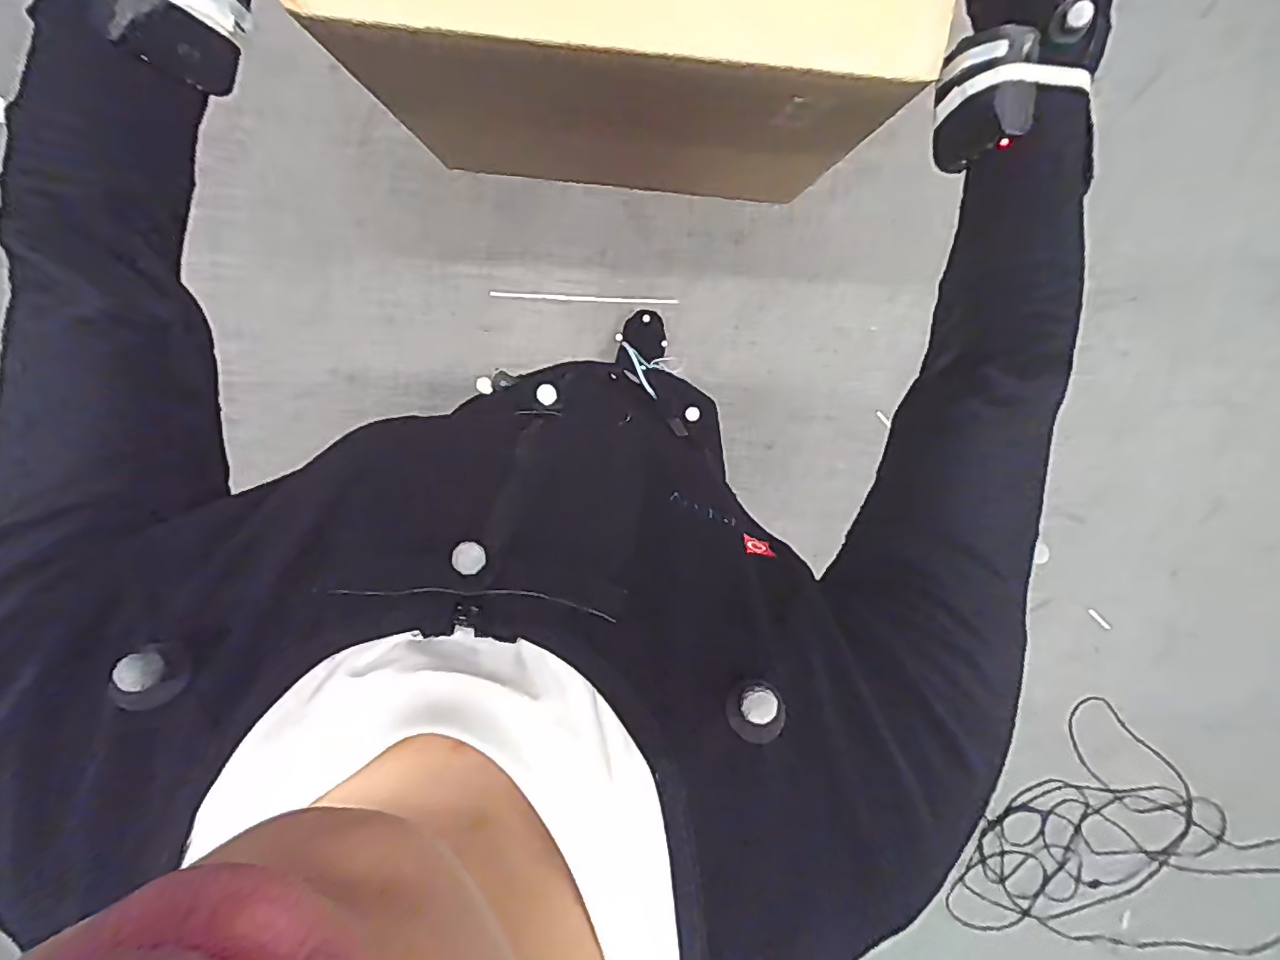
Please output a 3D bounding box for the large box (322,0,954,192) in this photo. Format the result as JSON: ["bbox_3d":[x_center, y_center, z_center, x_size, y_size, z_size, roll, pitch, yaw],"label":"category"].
[{"bbox_3d":[0.002,-0.460,0.451,0.408,0.320,0.320,3,105,-4],"label":"large box"}]
